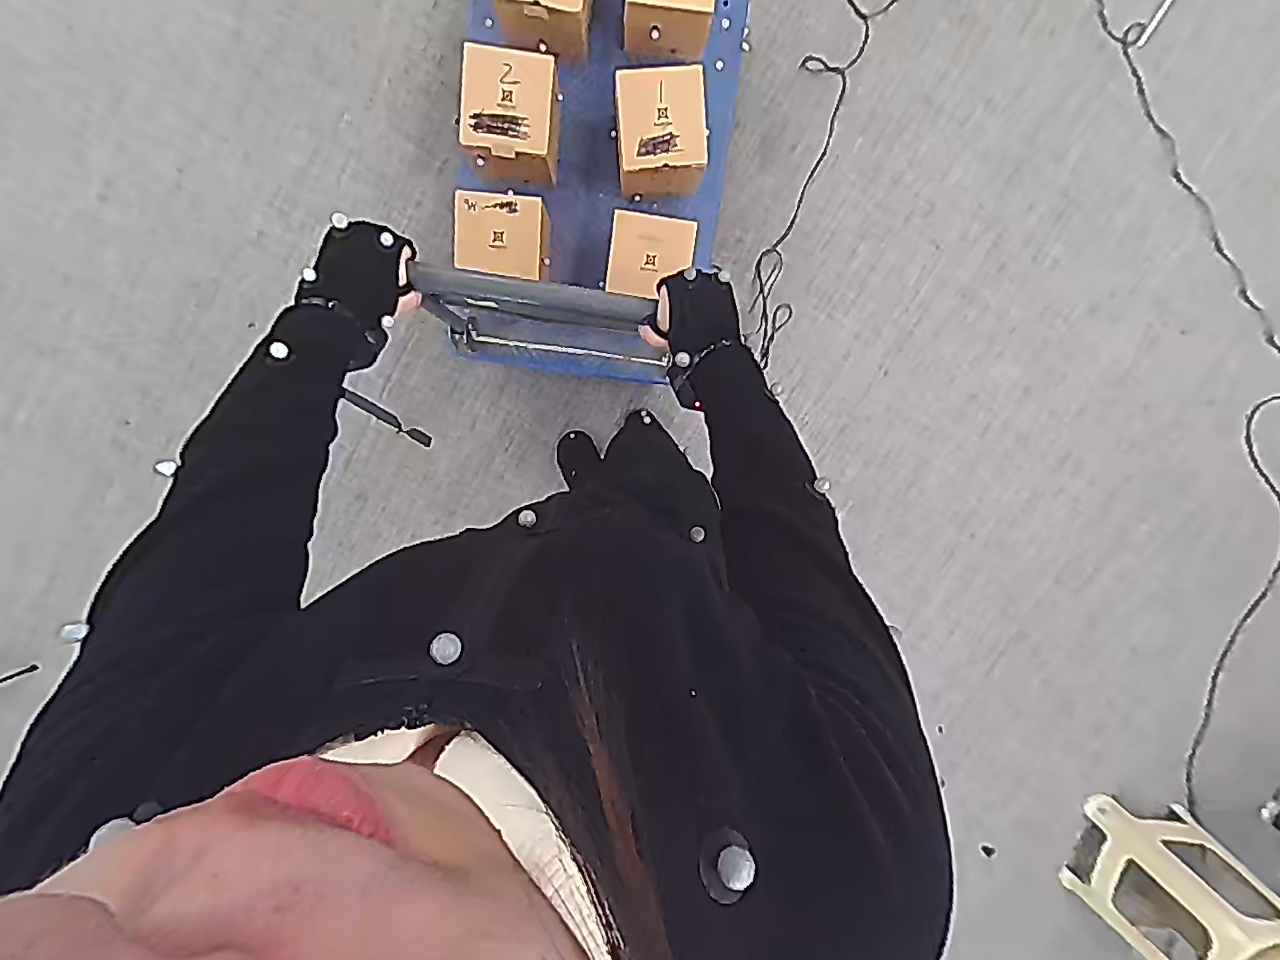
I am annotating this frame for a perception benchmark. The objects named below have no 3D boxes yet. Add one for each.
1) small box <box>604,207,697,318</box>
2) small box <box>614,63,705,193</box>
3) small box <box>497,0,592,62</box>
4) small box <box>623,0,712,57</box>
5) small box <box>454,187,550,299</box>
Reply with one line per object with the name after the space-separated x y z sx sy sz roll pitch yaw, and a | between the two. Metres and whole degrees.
0.016 -0.451 1.148 0.168 0.176 0.179 7 99 -5 | small box
0.036 -0.704 1.102 0.168 0.176 0.179 -5 100 -2 | small box
-0.180 -0.962 1.041 0.168 0.176 0.179 8 101 -5 | small box
0.055 -0.972 1.055 0.168 0.176 0.179 4 100 -4 | small box
-0.280 -0.480 1.124 0.168 0.176 0.179 3 100 -5 | small box
